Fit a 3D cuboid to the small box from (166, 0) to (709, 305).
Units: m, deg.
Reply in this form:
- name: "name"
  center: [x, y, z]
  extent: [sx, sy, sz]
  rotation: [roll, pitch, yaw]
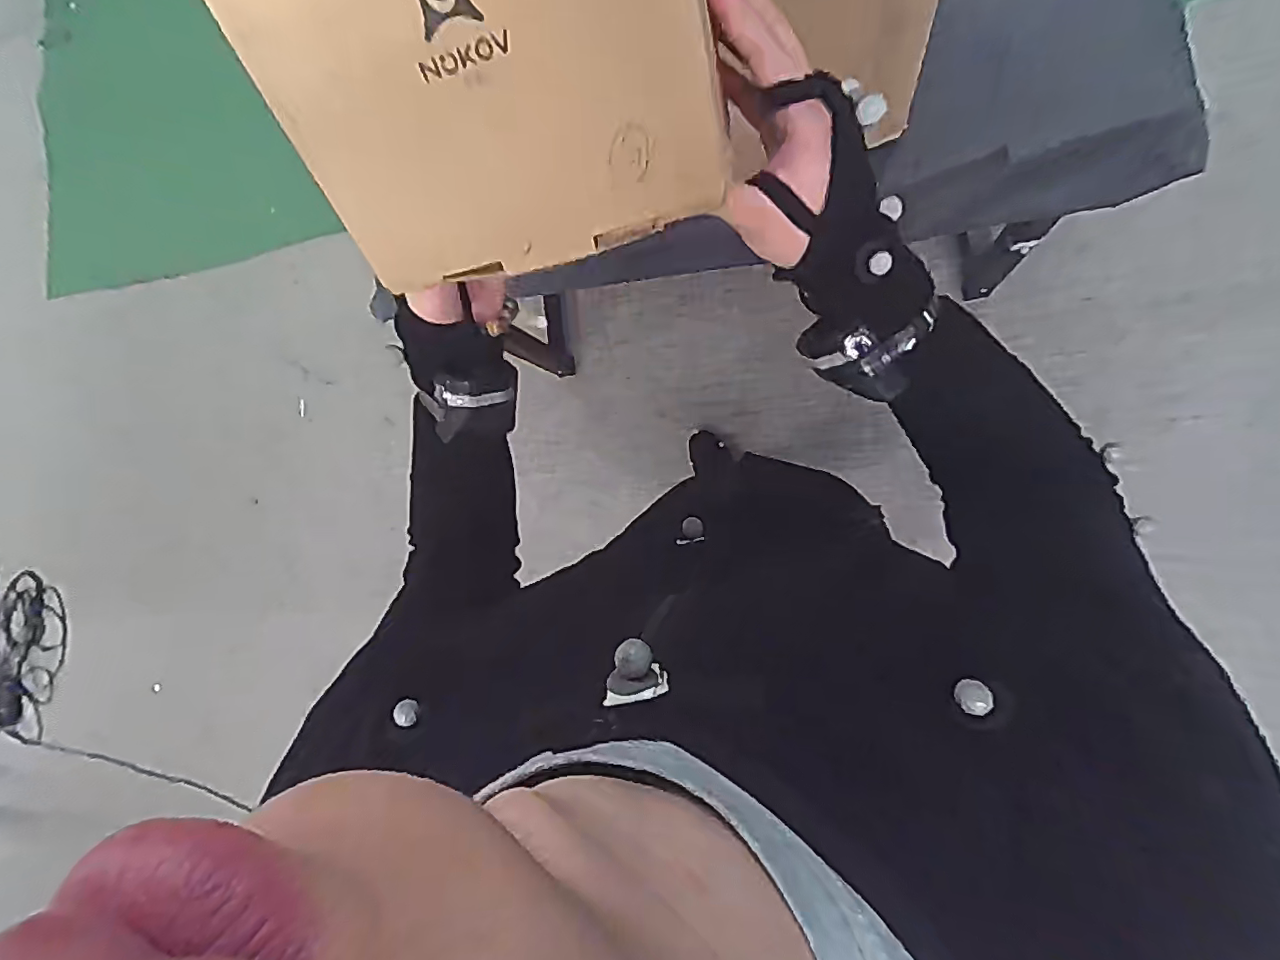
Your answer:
- name: "small box"
  center: [-0.066, -0.209, 0.238]
  extent: [0.168, 0.176, 0.179]
  rotation: [-8, 131, 16]
